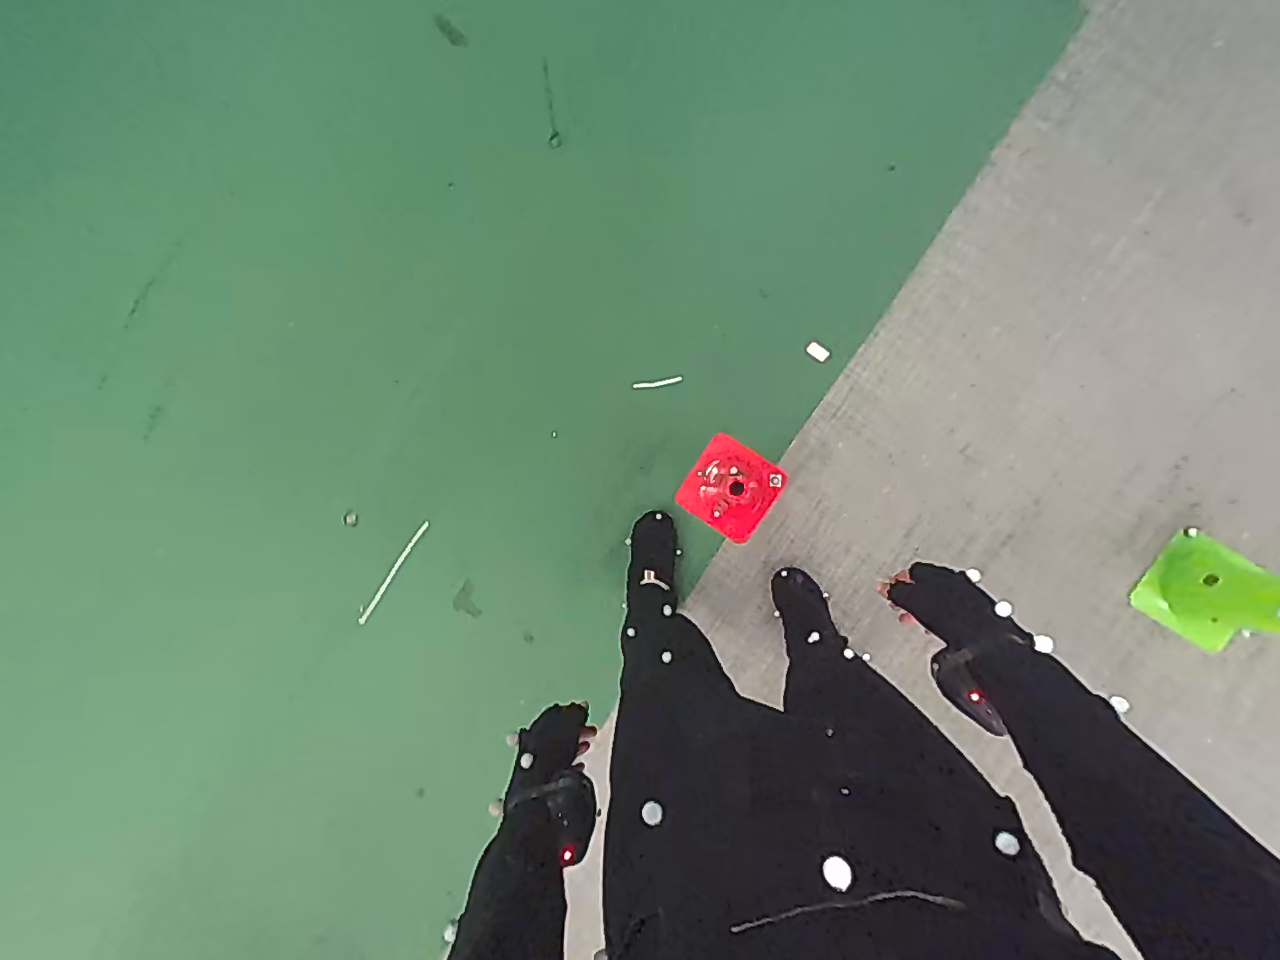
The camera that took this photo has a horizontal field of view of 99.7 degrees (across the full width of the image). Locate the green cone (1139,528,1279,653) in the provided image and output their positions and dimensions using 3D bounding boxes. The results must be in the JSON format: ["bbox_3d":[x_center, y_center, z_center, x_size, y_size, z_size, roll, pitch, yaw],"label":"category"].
[{"bbox_3d":[1.138,0.226,0.937,0.202,0.368,0.200,32,94,7],"label":"green cone"}]

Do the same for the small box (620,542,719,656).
[{"bbox_3d":[0.058,0.265,1.235,0.168,0.176,0.179,20,97,-9],"label":"small box"}]
